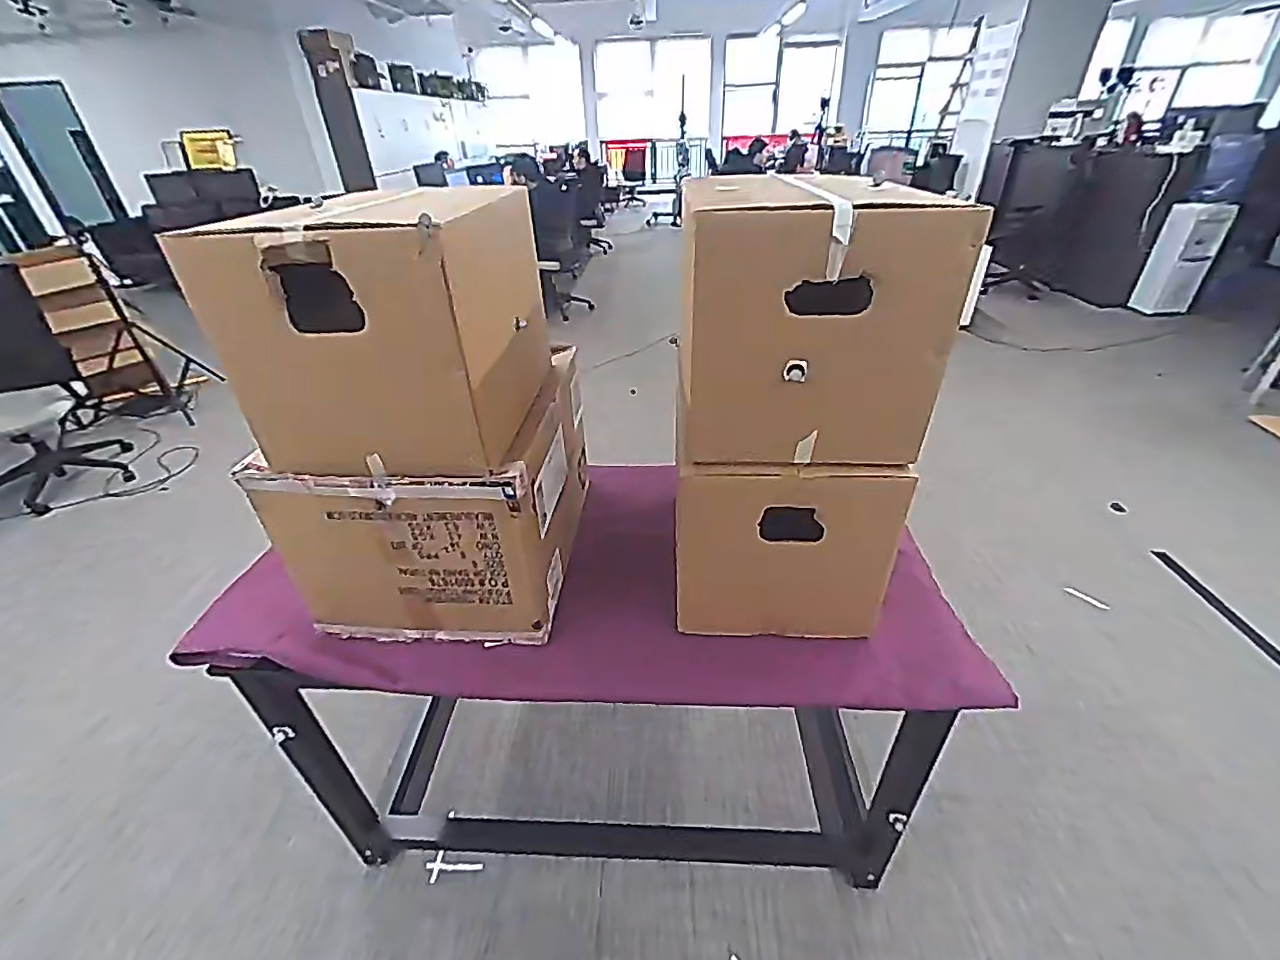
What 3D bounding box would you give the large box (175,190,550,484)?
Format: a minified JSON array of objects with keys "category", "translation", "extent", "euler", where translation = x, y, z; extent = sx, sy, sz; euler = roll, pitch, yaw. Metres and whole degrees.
[{"category":"large box","translation":[-0.332,-0.234,0.808],"extent":[0.320,0.320,0.408],"euler":[-2,34,4]}]
